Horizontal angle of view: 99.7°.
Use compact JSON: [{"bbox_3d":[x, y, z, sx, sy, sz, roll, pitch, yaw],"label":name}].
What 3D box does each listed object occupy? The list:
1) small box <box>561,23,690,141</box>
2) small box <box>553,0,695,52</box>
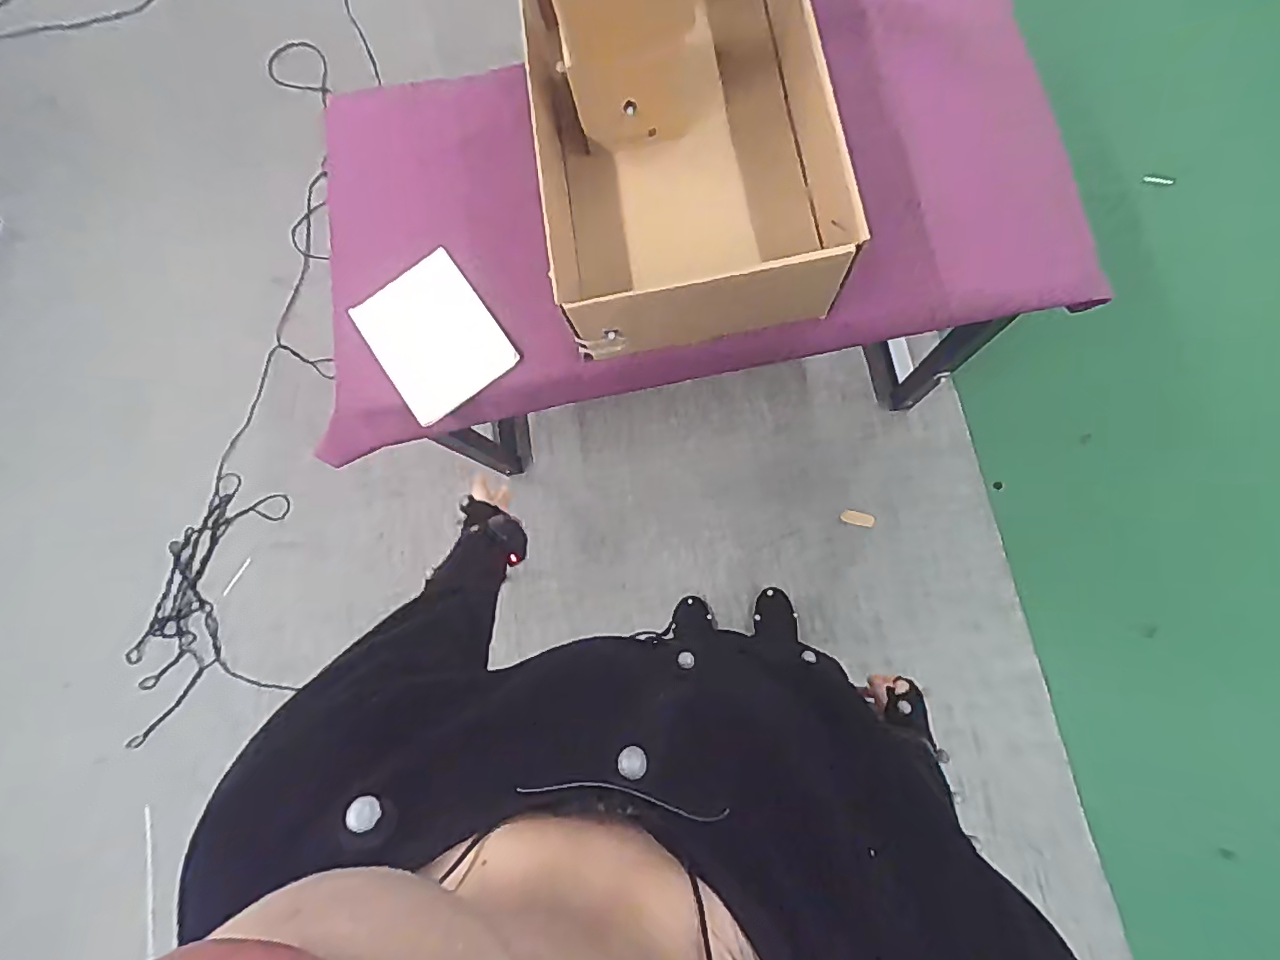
[{"bbox_3d":[-0.020,-0.643,0.806,0.168,0.176,0.179,-9,81,6],"label":"small box"},{"bbox_3d":[-0.036,-0.666,0.646,0.179,0.176,0.168,-12,80,5],"label":"small box"}]
